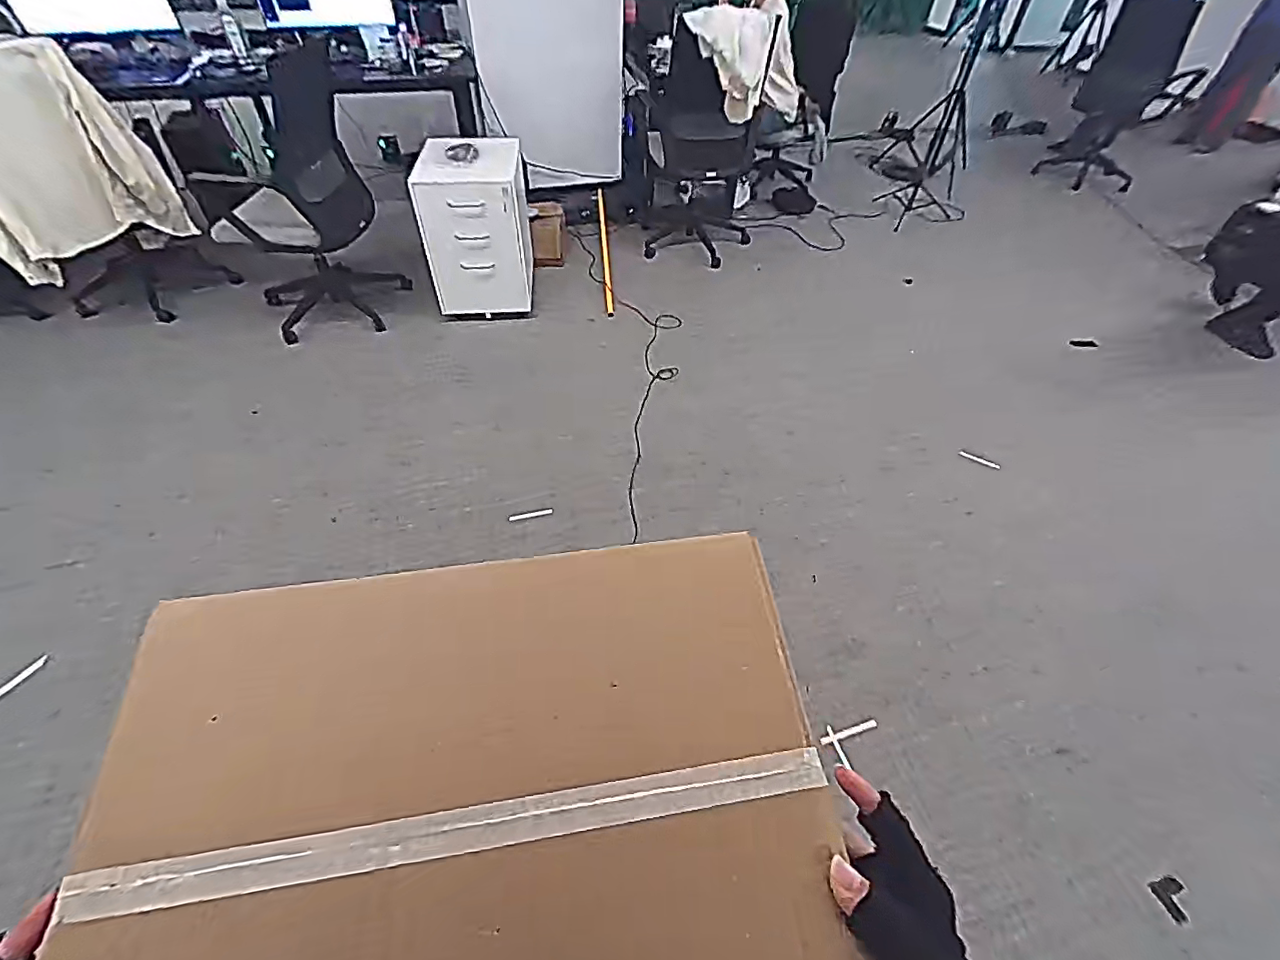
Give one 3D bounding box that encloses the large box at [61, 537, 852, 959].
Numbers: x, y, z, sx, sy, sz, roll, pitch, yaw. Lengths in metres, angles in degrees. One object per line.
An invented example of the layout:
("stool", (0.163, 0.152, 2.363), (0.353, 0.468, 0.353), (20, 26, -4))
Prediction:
("large box", (-0.103, 0.272, 0.438), (0.408, 0.320, 0.320), (-6, 58, -6))
